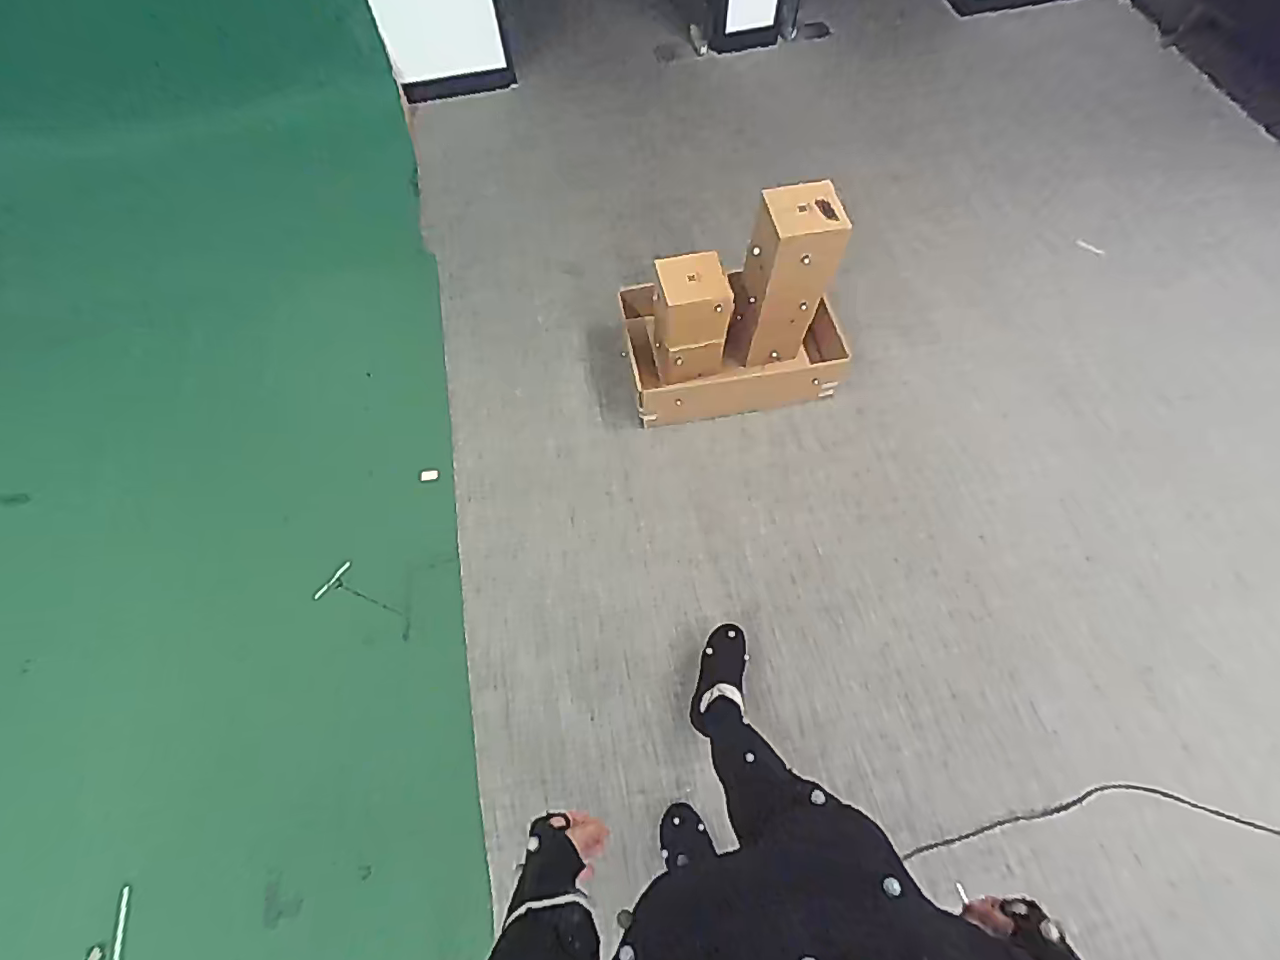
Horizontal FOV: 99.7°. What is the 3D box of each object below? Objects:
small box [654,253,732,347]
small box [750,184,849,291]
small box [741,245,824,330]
[{"bbox_3d":[0.139,-0.488,1.487,0.179,0.176,0.168,-12,66,-6],"label":"small box"},{"bbox_3d":[0.390,-0.602,1.352,0.179,0.176,0.168,-10,66,-2],"label":"small box"},{"bbox_3d":[0.388,-0.537,1.503,0.168,0.176,0.179,-10,65,-3],"label":"small box"}]
